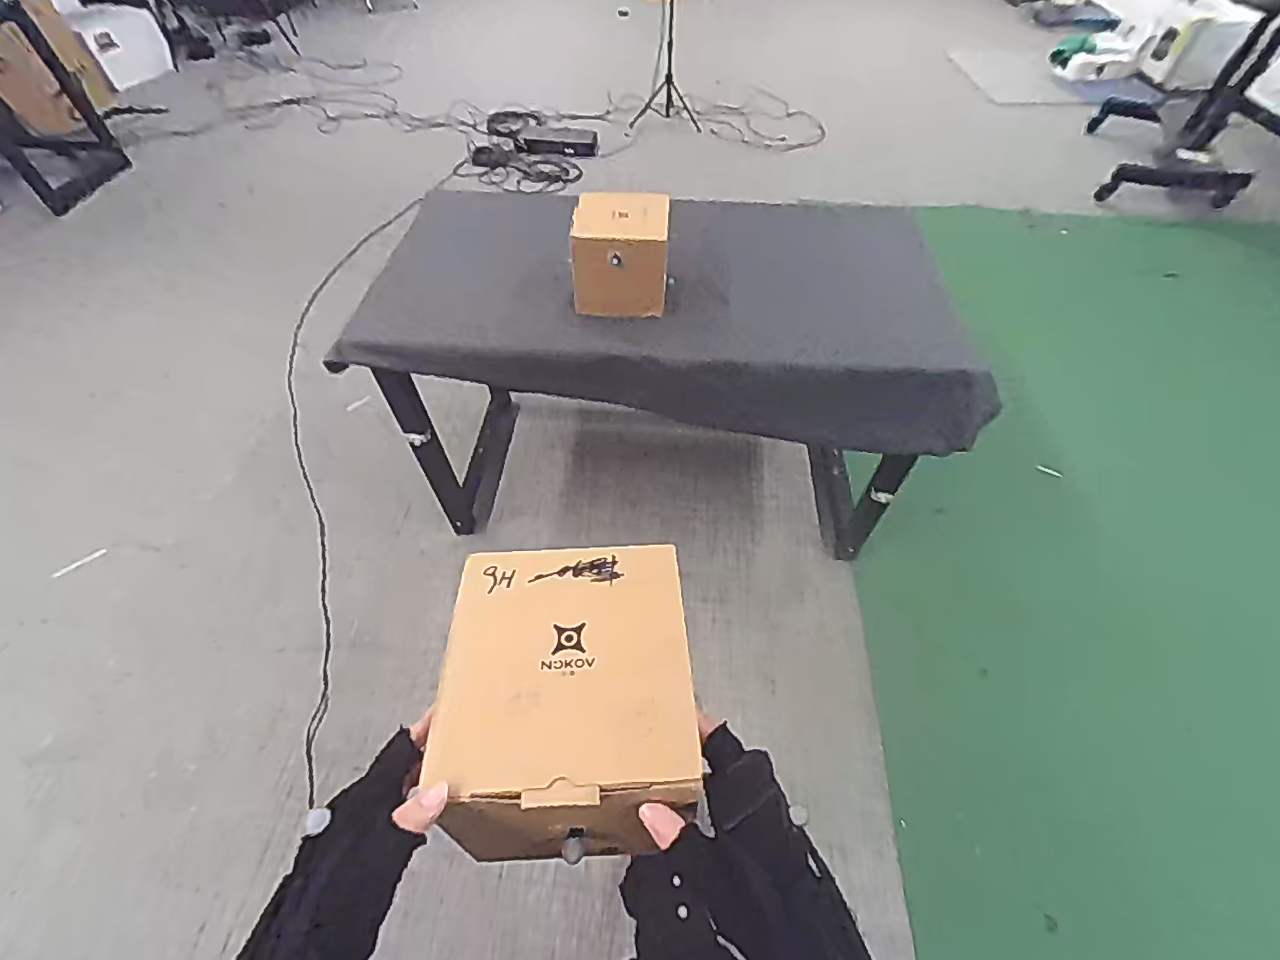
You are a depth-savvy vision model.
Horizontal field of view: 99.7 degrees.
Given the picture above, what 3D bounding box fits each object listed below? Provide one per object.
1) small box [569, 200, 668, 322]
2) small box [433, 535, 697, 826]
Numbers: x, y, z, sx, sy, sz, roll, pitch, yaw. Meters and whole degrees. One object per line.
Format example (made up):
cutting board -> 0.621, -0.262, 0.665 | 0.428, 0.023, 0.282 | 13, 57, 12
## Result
small box -> -0.037, -0.432, 1.075 | 0.179, 0.176, 0.168 | 3, 53, 1
small box -> -0.048, 0.167, 0.441 | 0.168, 0.176, 0.179 | -2, 47, -2
